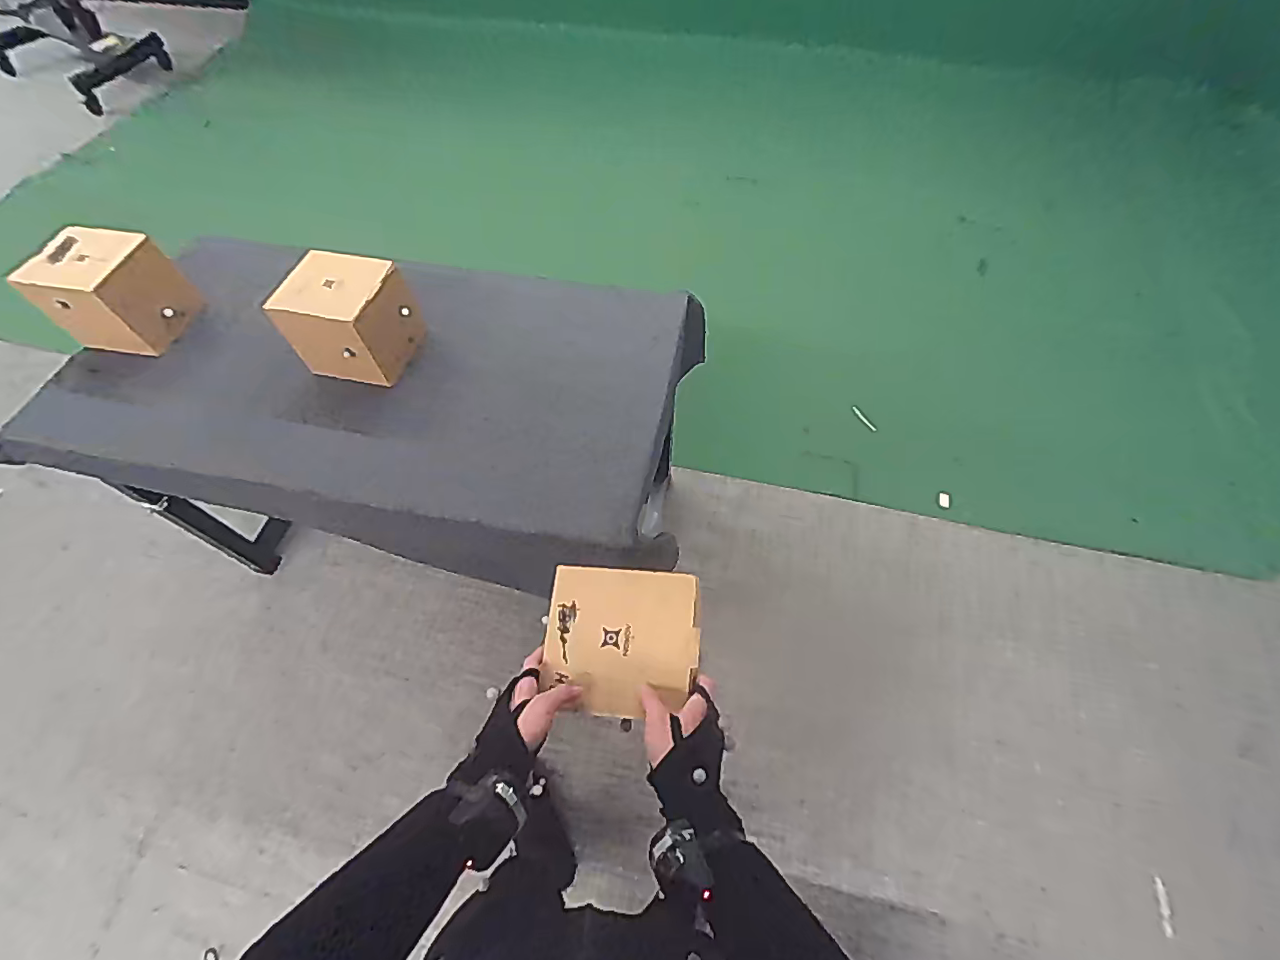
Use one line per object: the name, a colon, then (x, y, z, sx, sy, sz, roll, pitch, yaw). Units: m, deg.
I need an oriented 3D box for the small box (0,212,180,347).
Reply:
small box: (-1.051, -0.376, 1.026, 0.179, 0.176, 0.168, 9, 58, 2)

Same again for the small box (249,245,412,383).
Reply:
small box: (-0.553, -0.301, 1.000, 0.179, 0.176, 0.168, 10, 57, 6)

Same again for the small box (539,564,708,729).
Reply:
small box: (-0.011, 0.212, 0.677, 0.179, 0.176, 0.168, 4, 66, 5)
